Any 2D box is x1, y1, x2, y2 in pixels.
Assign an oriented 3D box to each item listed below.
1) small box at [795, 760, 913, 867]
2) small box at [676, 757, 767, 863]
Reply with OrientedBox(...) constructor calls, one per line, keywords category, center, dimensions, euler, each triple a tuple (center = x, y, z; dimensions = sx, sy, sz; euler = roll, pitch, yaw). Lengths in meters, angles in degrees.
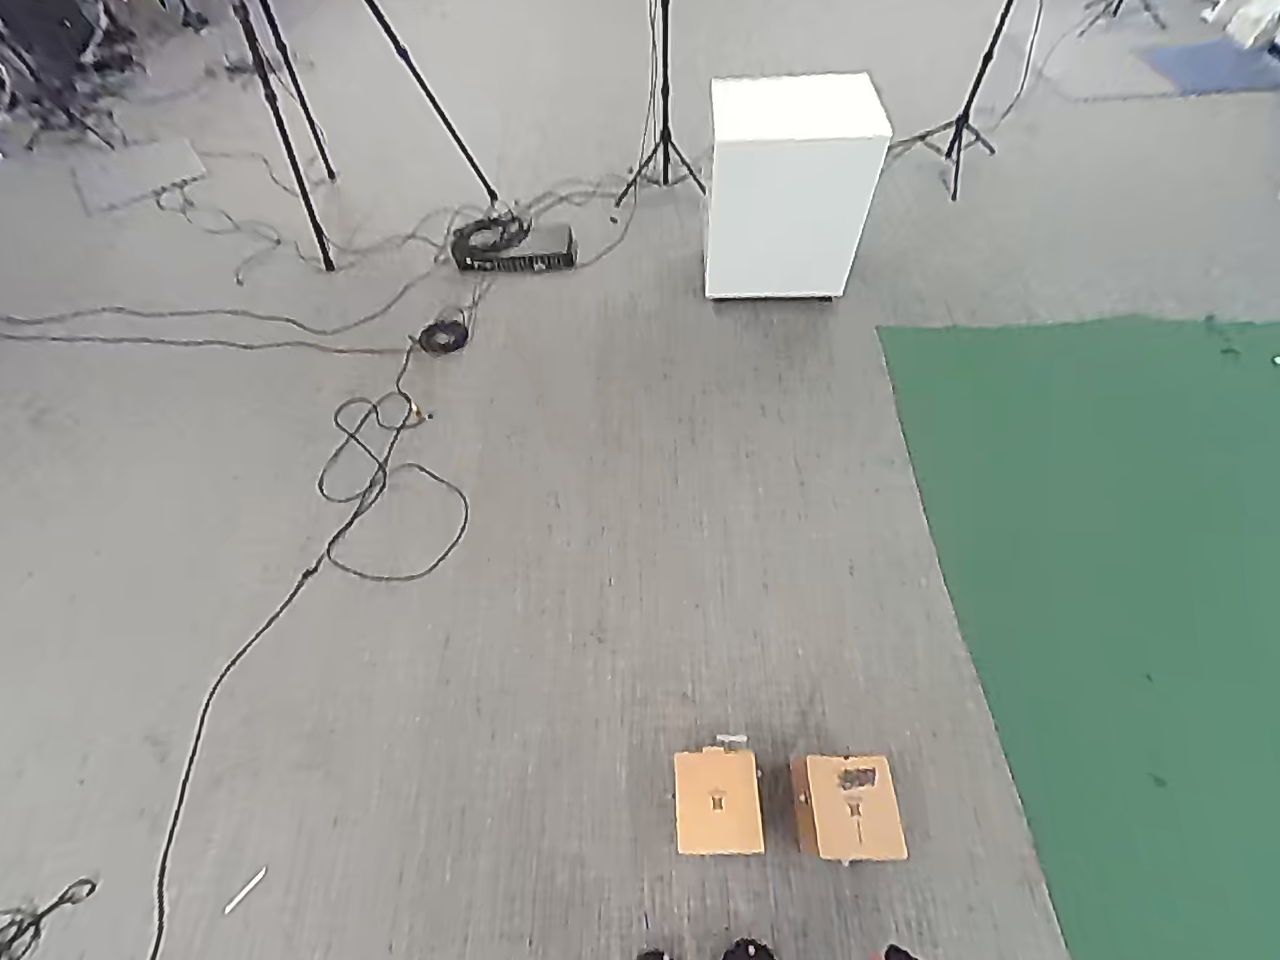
OrientedBox(category="small box", center=(0.424, 0.682, 1.107), dimensions=(0.168, 0.176, 0.179), euler=(-1, 57, 2))
OrientedBox(category="small box", center=(0.161, 0.682, 1.121), dimensions=(0.168, 0.176, 0.179), euler=(-2, 56, 1))
